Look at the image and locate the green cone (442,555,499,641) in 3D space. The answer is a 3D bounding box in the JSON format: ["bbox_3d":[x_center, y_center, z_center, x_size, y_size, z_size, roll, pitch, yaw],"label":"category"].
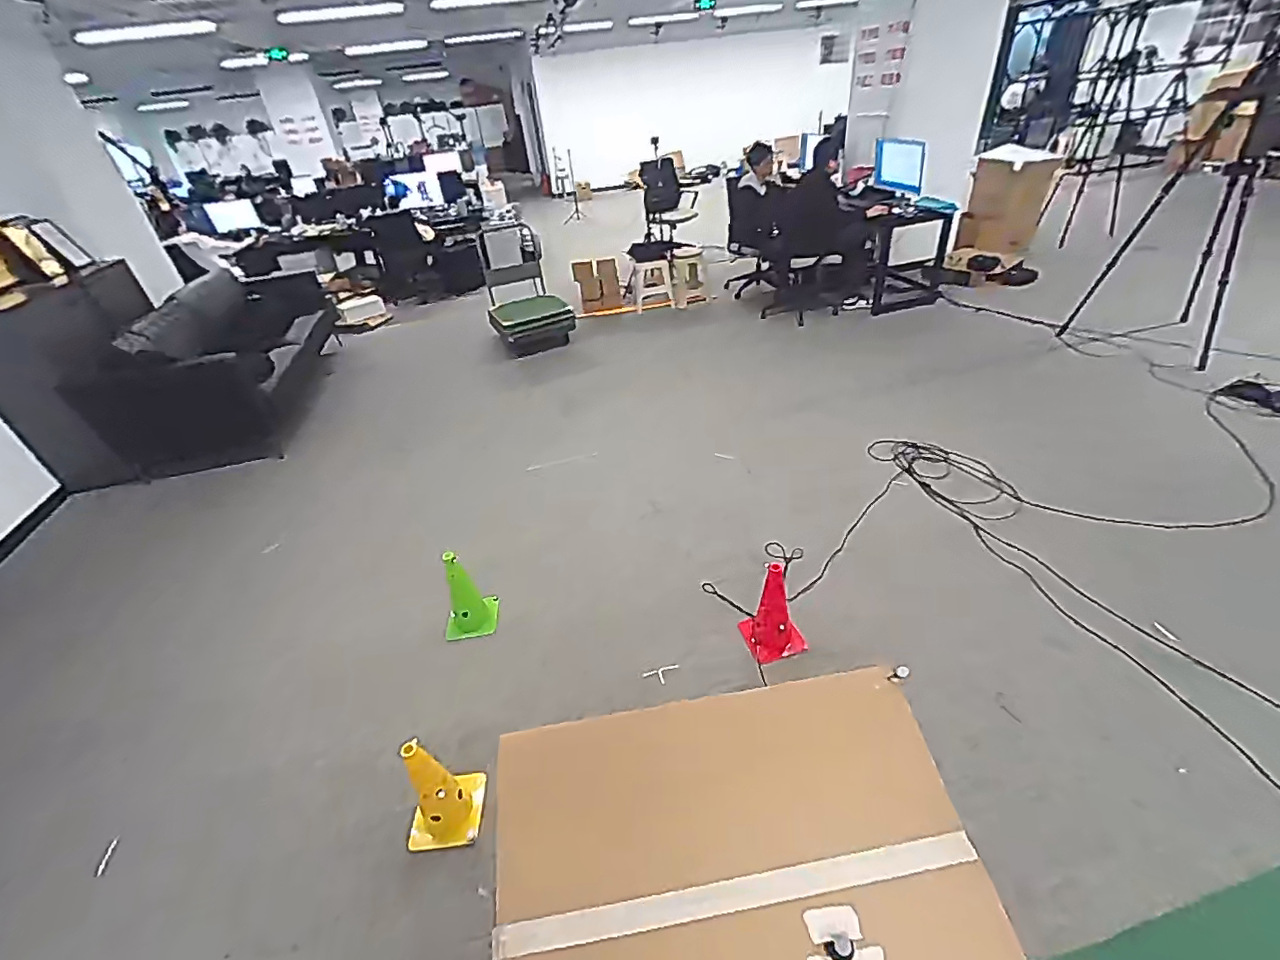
[{"bbox_3d":[-0.705,0.433,2.127,0.200,0.368,0.202,-10,36,-3],"label":"green cone"}]

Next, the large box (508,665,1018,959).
[{"bbox_3d":[0.094,0.436,0.578,0.408,0.320,0.320,-9,53,-4],"label":"large box"}]
